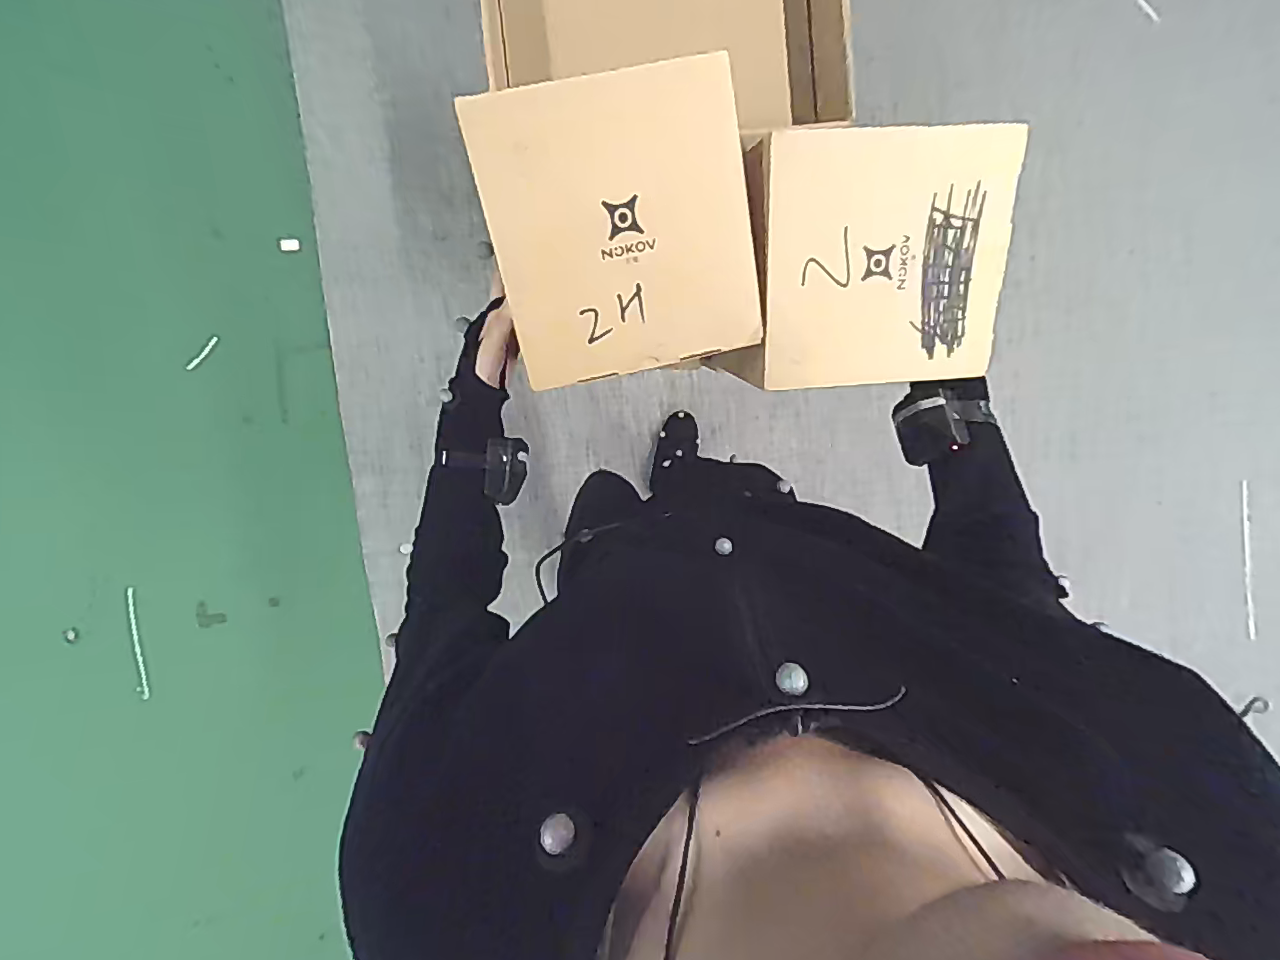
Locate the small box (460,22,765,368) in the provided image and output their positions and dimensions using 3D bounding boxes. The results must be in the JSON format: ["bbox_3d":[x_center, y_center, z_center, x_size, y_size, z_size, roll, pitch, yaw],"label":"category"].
[{"bbox_3d":[-0.021,-0.193,0.411,0.168,0.176,0.179,-13,108,-4],"label":"small box"}]
